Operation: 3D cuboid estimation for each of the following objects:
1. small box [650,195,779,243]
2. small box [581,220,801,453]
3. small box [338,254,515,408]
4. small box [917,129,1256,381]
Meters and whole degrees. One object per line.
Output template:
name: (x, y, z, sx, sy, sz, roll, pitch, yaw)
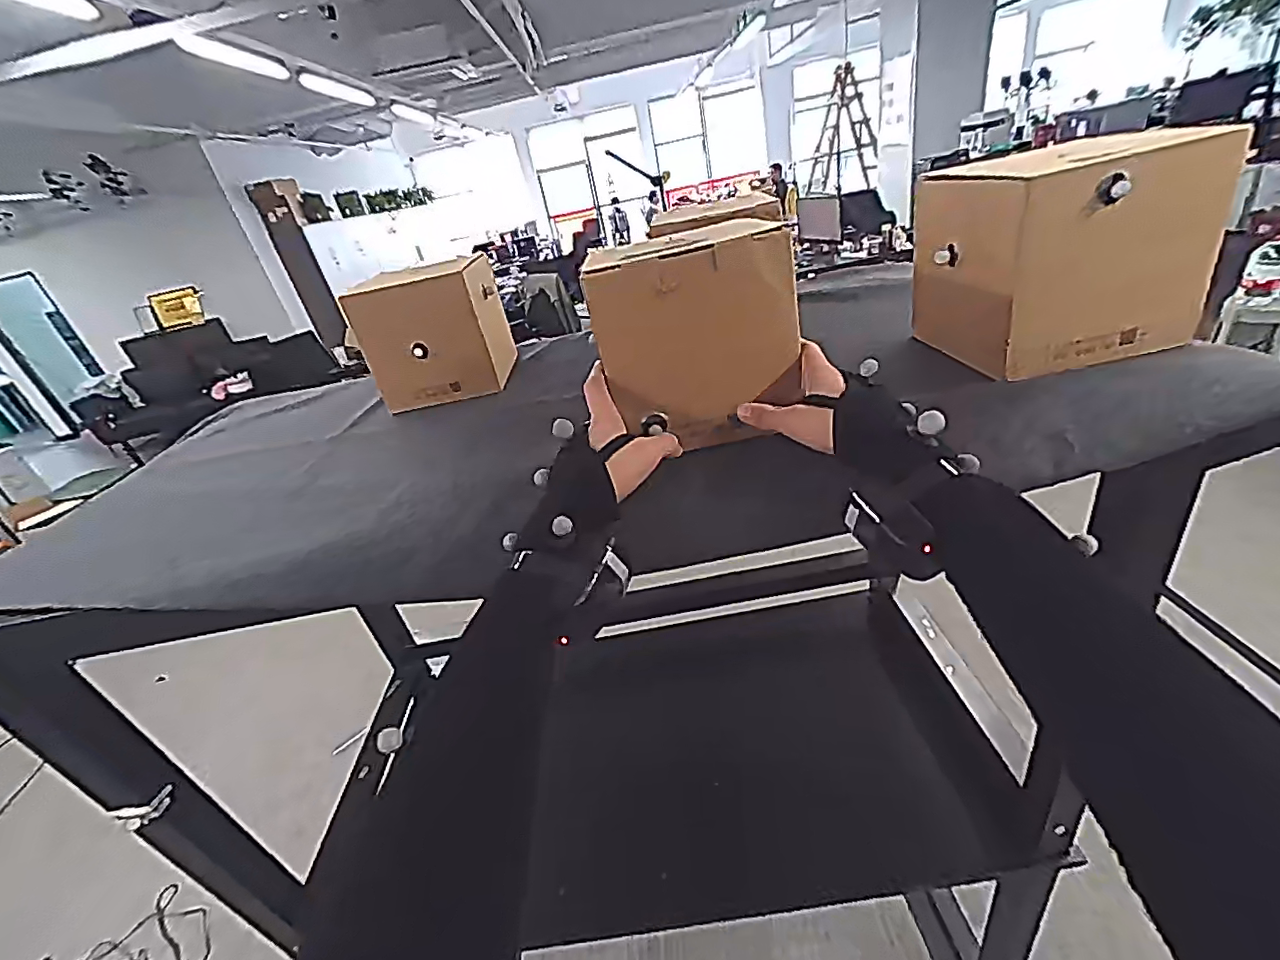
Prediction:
small box: (0.111, -0.298, 0.780, 0.168, 0.176, 0.179, -8, 29, 7)
small box: (0.048, -0.136, 0.518, 0.168, 0.176, 0.179, -11, 27, 4)
small box: (-0.293, -0.214, 0.791, 0.168, 0.176, 0.179, -11, 30, 2)
small box: (0.381, -0.206, 0.508, 0.168, 0.176, 0.179, -12, 28, 3)
